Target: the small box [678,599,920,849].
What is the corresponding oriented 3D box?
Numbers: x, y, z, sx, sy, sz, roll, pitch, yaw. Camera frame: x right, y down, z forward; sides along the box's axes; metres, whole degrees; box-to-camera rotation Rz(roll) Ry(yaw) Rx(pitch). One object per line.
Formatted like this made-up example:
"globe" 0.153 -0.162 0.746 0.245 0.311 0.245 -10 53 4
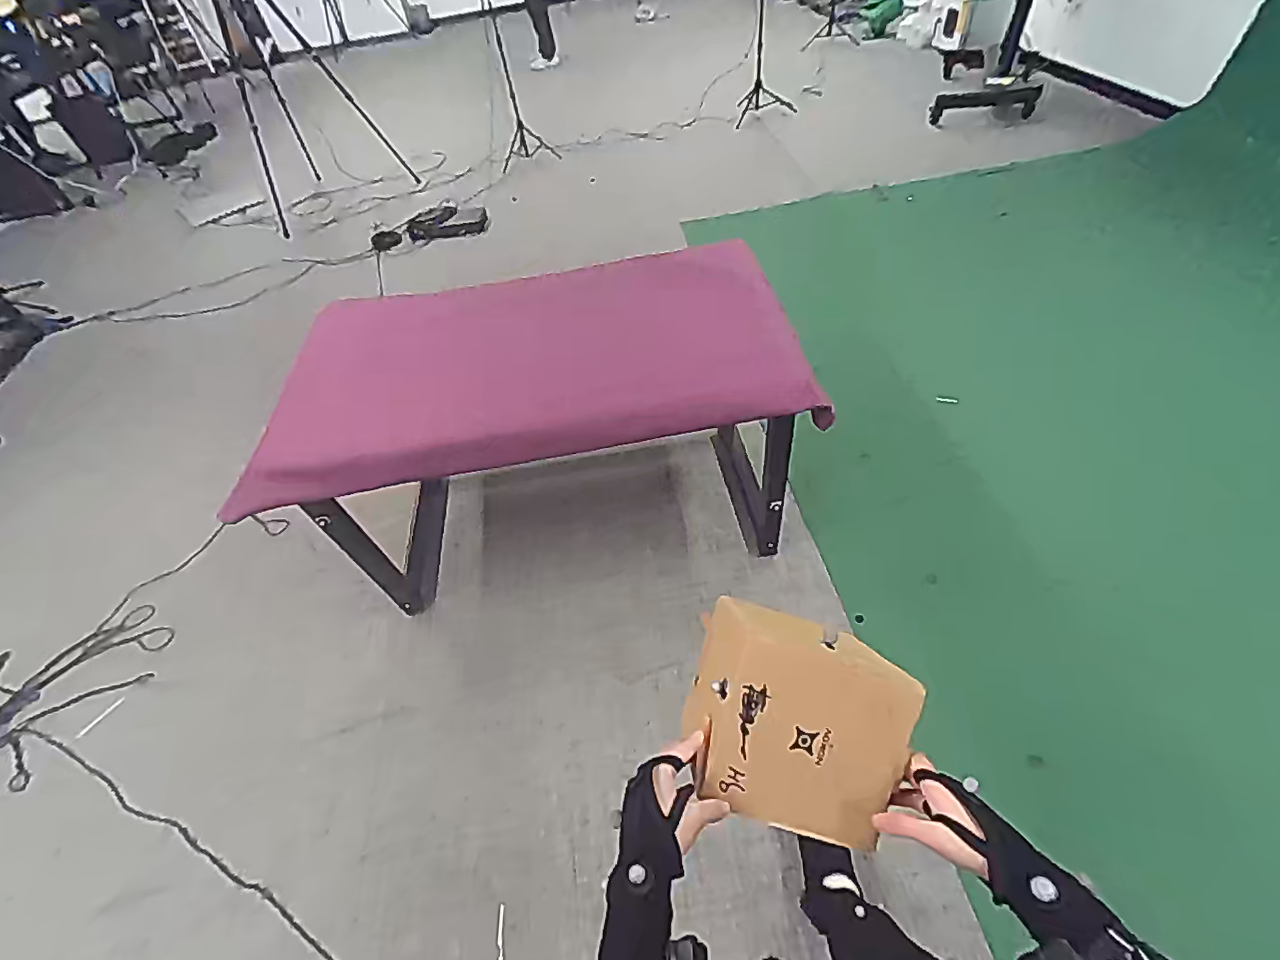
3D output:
"small box" 0.151 0.238 0.575 0.179 0.176 0.168 17 89 -1
